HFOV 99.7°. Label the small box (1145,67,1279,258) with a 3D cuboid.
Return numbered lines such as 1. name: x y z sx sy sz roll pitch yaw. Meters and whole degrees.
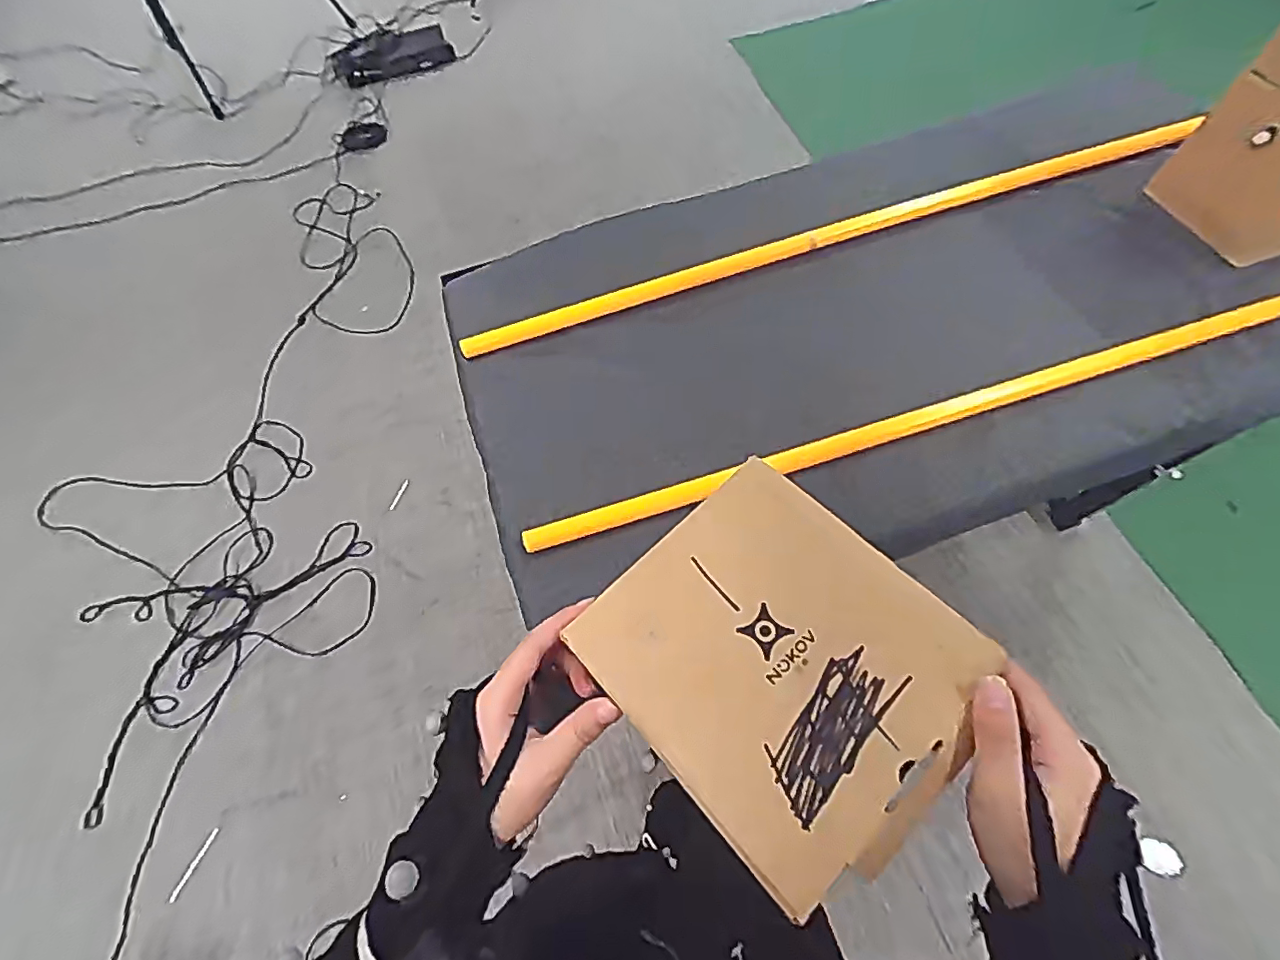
1. small box: 0.833 -0.412 0.693 0.168 0.176 0.179 -19 63 -4
